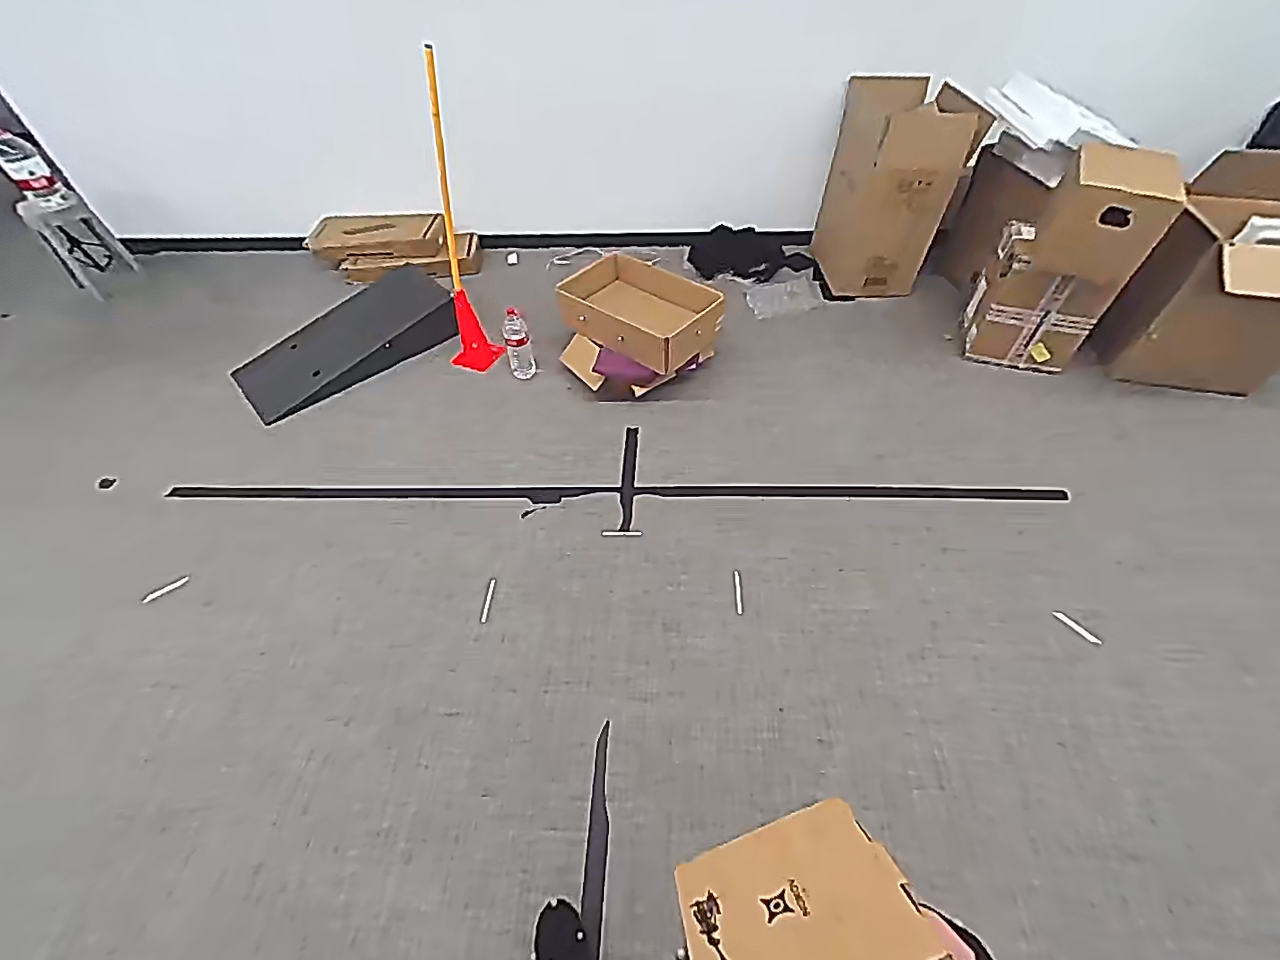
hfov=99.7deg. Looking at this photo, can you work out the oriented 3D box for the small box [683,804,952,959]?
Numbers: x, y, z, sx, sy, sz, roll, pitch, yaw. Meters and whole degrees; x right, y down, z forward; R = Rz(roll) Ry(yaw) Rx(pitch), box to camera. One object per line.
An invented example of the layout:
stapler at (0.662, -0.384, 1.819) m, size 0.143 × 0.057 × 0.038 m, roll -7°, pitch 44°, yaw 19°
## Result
small box at (0.153, 0.425, 0.450) m, size 0.179 × 0.168 × 0.176 m, roll -20°, pitch 93°, yaw -3°
